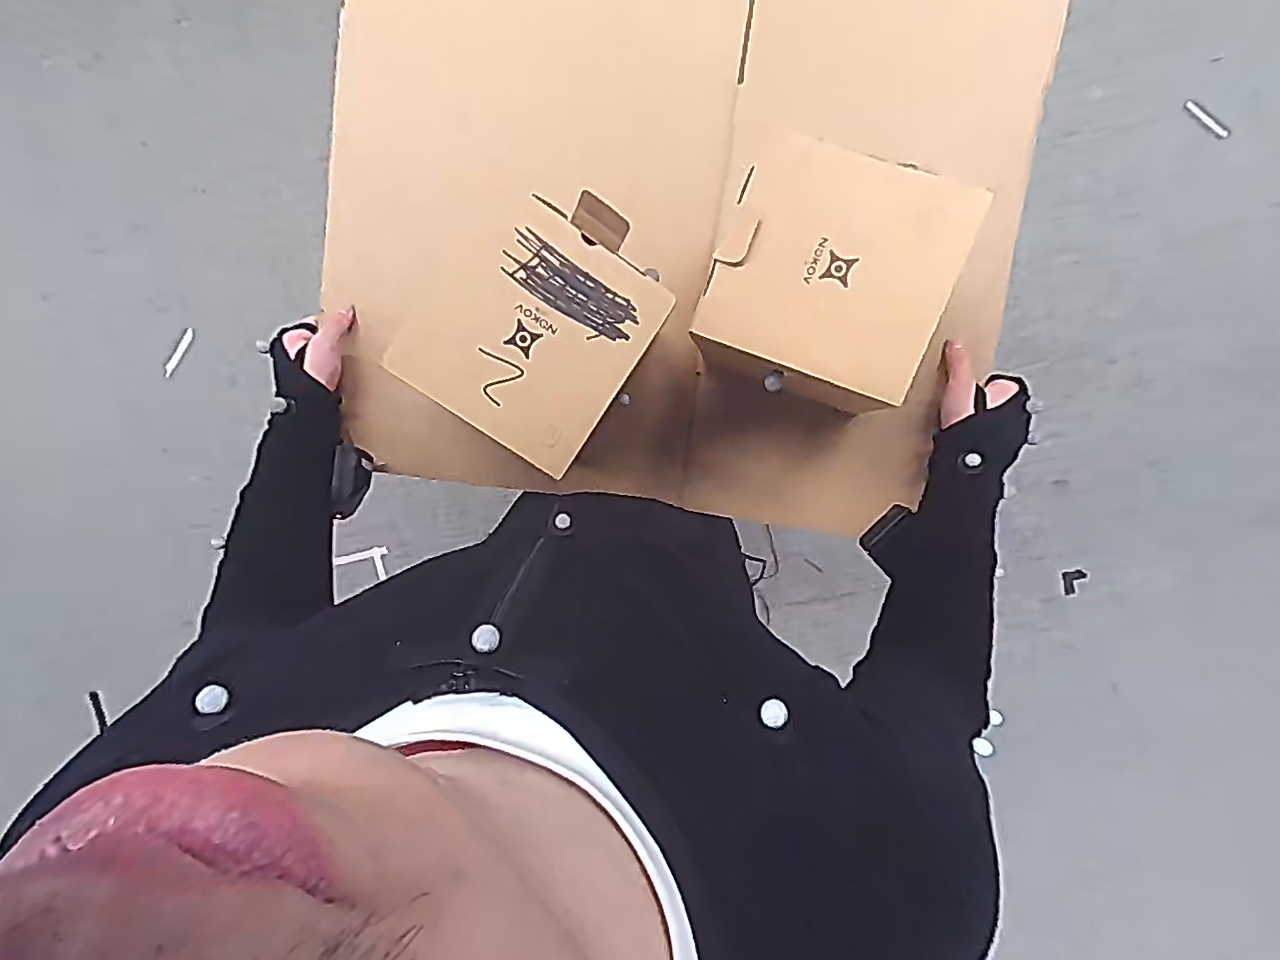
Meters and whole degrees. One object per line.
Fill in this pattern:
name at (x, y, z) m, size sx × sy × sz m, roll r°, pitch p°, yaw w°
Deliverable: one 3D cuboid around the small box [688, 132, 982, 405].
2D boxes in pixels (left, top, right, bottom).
small box at (0.163, -0.175, 0.502) m, size 0.179 × 0.176 × 0.168 m, roll 23°, pitch 99°, yaw 10°
